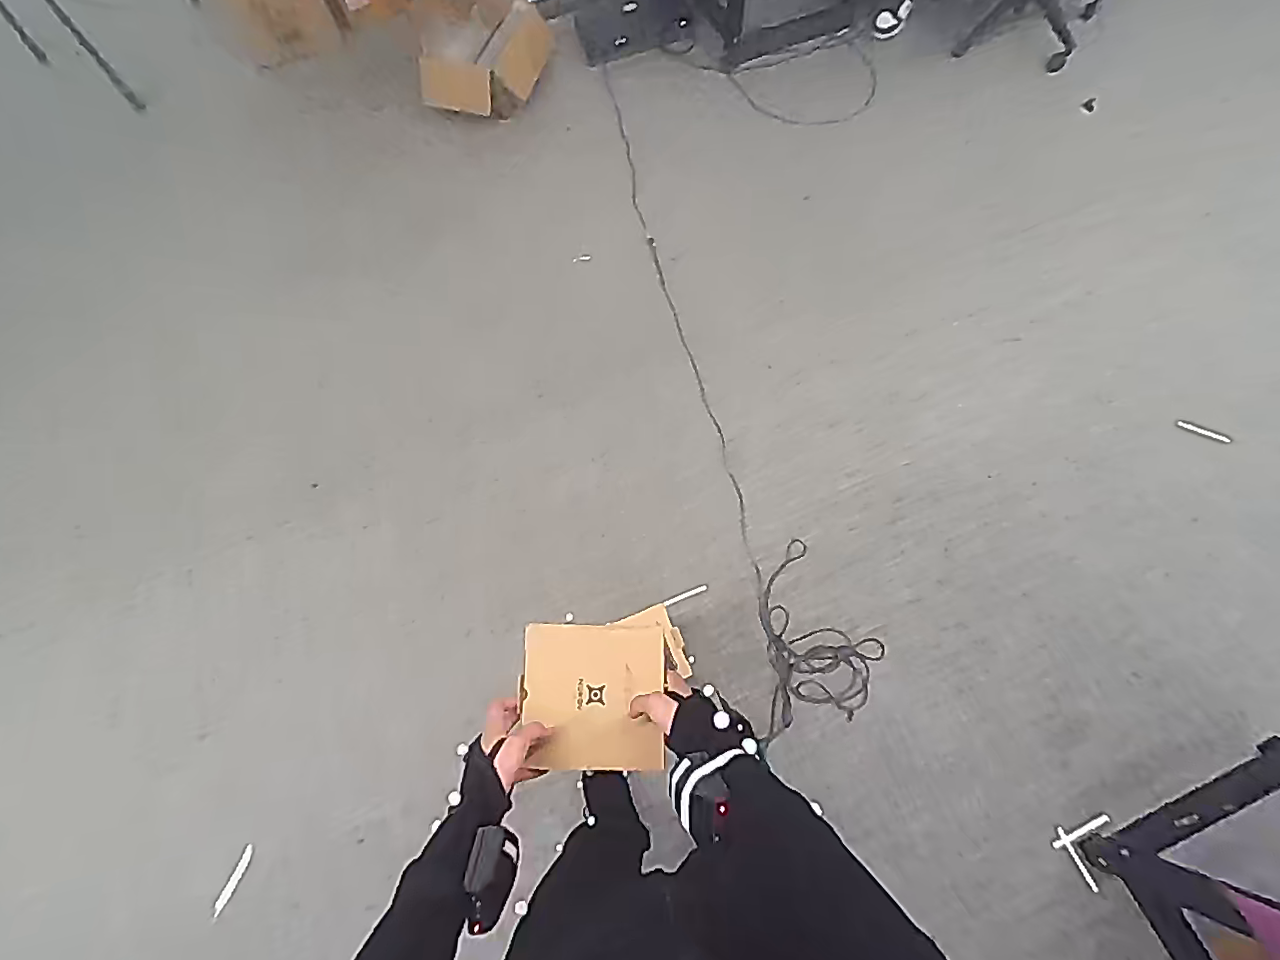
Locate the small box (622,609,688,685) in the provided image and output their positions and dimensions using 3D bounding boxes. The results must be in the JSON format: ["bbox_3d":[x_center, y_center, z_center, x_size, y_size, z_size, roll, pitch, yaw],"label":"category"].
[{"bbox_3d":[0.012,0.448,1.377,0.179,0.176,0.168,-23,71,-5],"label":"small box"}]

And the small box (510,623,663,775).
[{"bbox_3d":[-0.059,0.280,0.719,0.179,0.176,0.168,0,74,2],"label":"small box"}]
